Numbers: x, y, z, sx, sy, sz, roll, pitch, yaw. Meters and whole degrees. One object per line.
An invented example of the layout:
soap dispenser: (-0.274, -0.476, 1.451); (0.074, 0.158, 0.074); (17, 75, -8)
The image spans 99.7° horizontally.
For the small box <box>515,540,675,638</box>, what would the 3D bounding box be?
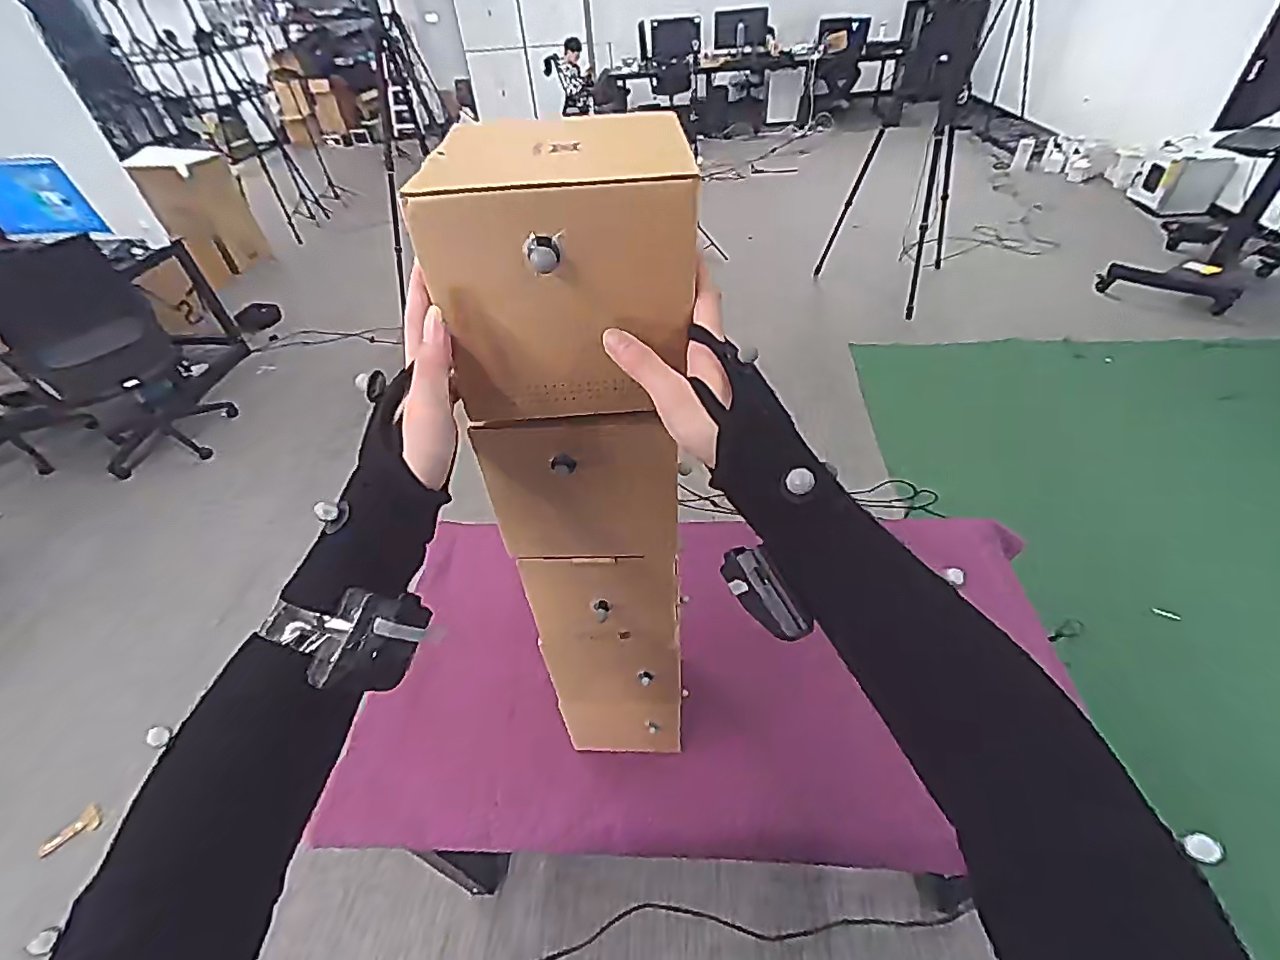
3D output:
small box: (-0.041, 0.081, 0.668); (0.168, 0.176, 0.179); (-1, 43, 3)

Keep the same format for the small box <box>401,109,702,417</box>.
small box: (-0.050, -0.166, 0.421); (0.179, 0.176, 0.168); (-4, 45, 1)

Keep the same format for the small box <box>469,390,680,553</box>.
small box: (-0.050, -0.038, 0.555); (0.179, 0.176, 0.168); (-1, 42, 3)

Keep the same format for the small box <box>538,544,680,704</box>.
small box: (-0.031, 0.205, 0.774); (0.179, 0.176, 0.168); (-1, 42, 5)
